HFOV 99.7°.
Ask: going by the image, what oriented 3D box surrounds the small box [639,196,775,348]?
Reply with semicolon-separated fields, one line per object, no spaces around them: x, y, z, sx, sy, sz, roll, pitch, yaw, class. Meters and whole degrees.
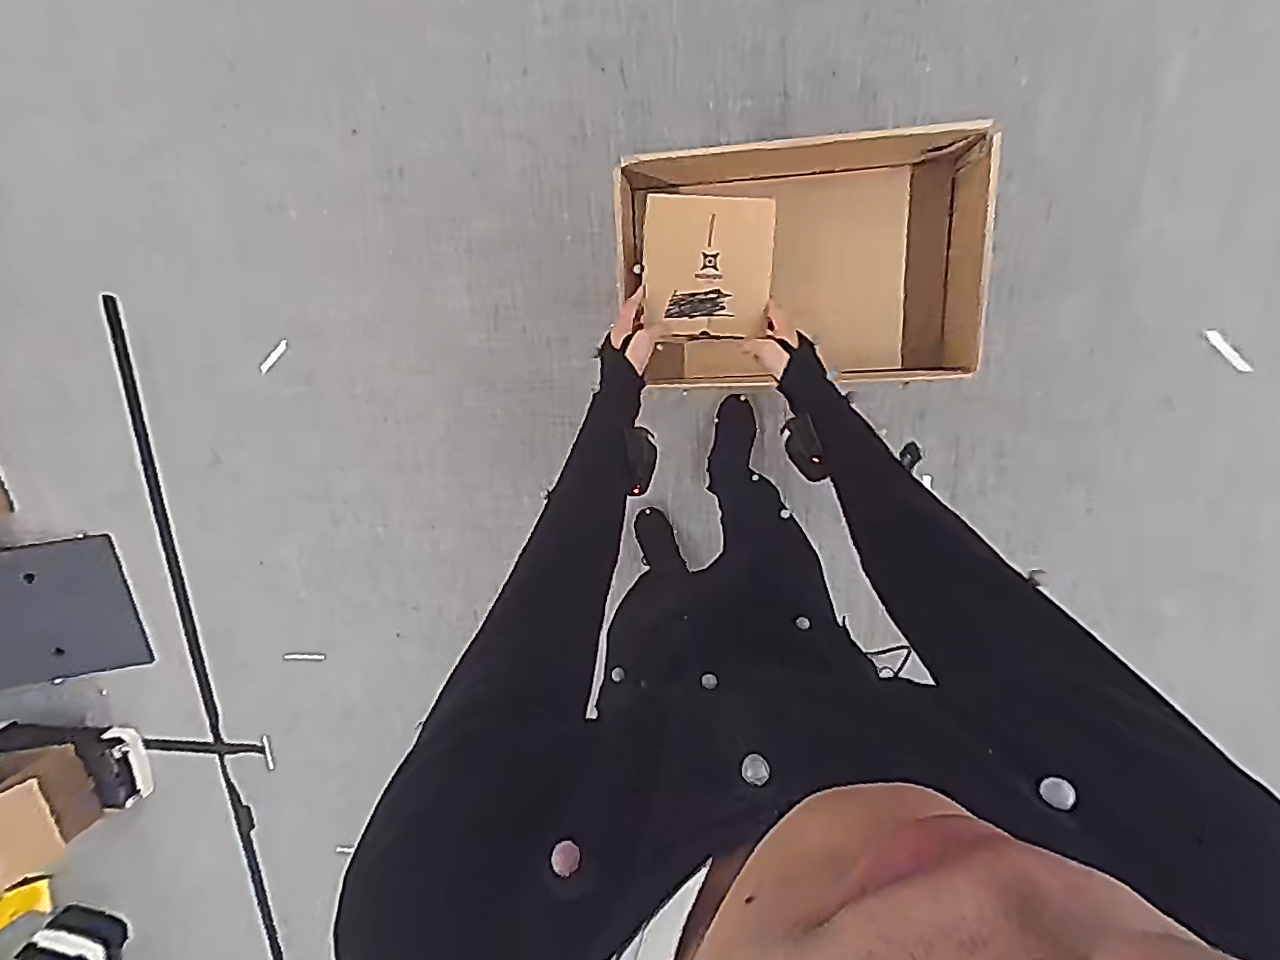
0.085;-0.282;0.772;0.168;0.176;0.179;2;101;-2;small box
